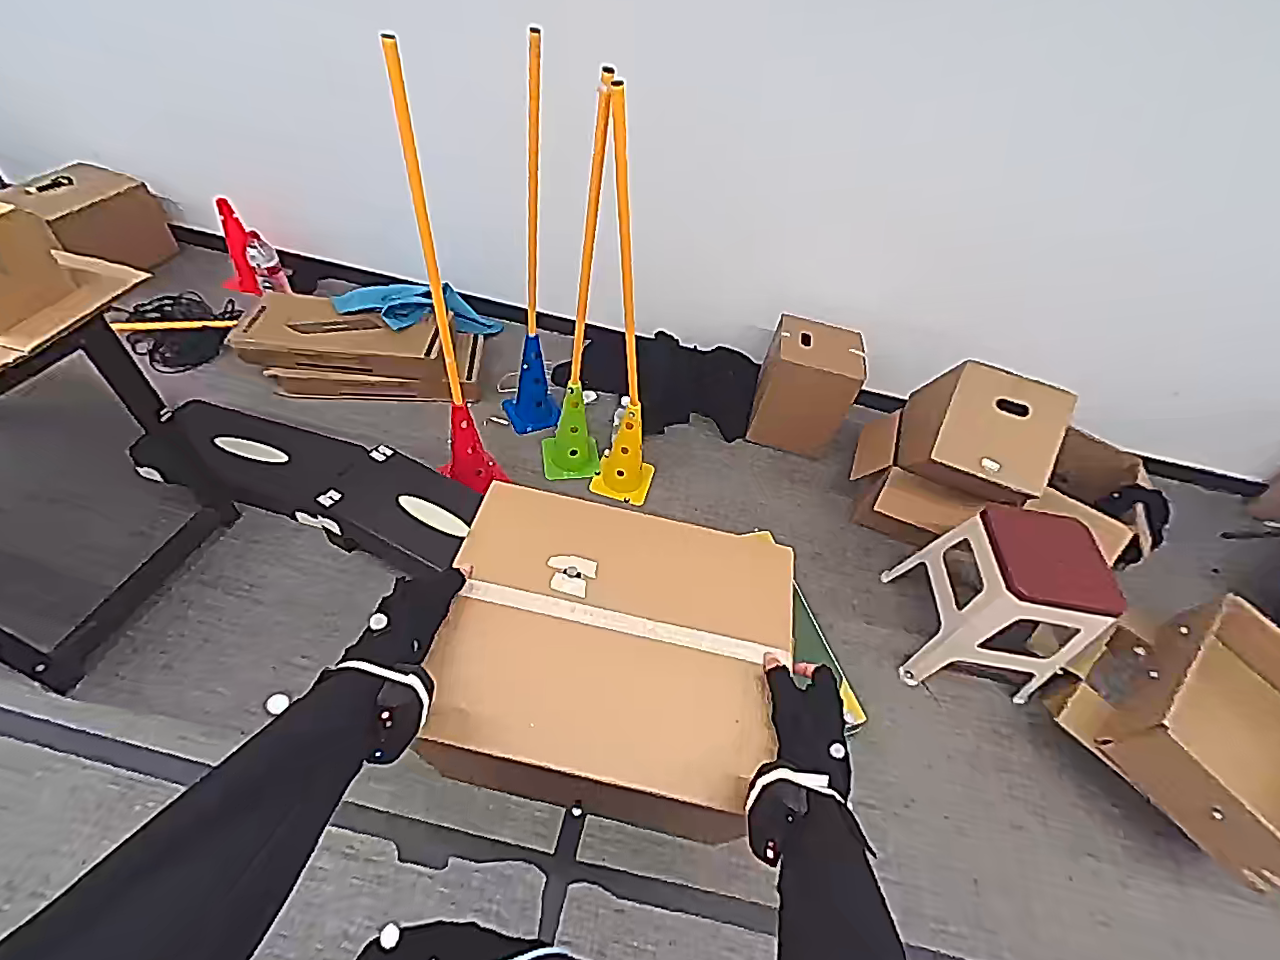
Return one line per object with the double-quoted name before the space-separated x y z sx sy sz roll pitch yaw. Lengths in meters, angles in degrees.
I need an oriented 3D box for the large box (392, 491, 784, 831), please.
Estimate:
"large box" -0.043 0.259 0.744 0.408 0.320 0.320 12 52 2
